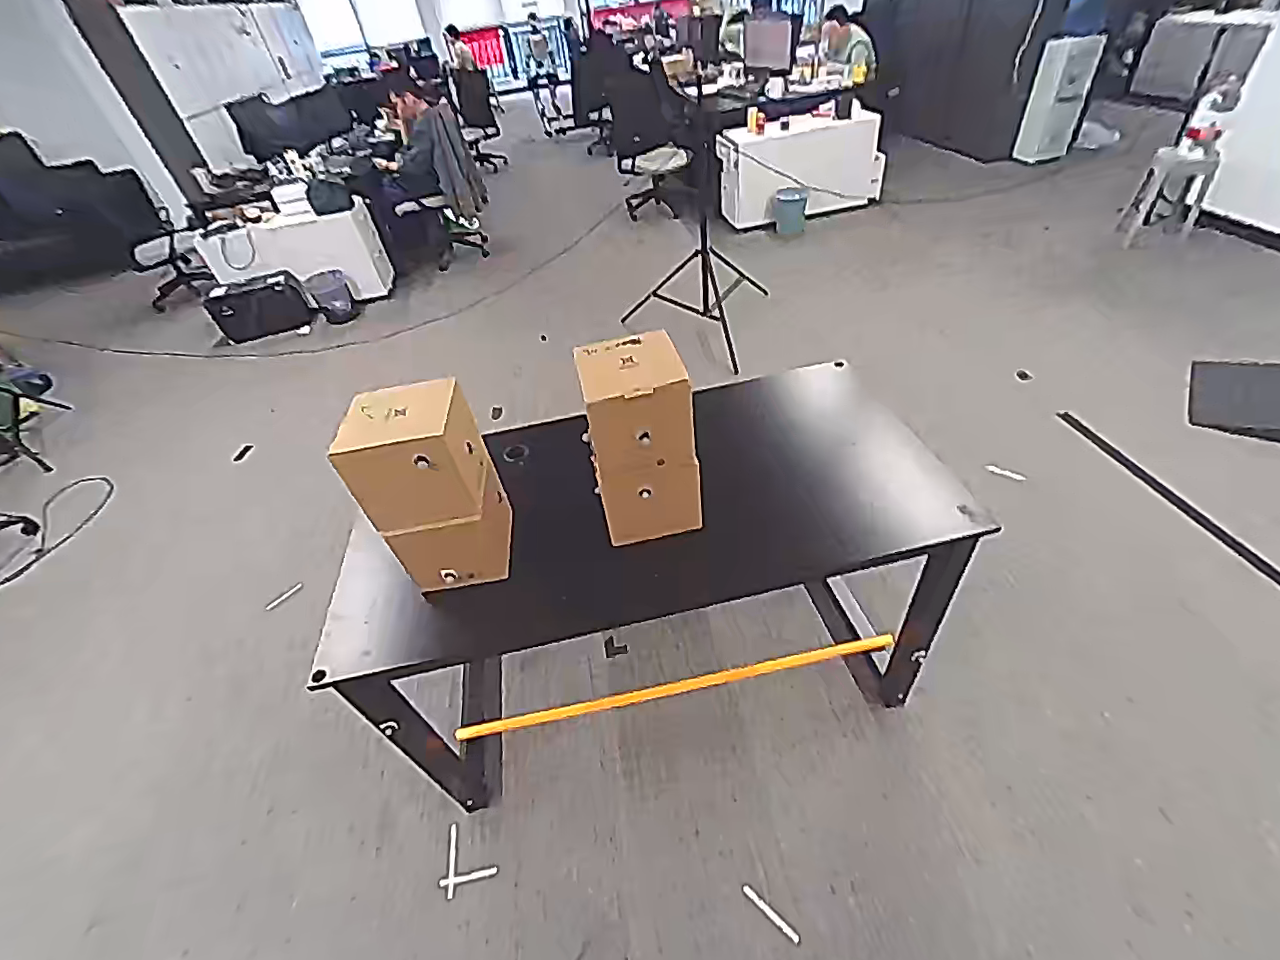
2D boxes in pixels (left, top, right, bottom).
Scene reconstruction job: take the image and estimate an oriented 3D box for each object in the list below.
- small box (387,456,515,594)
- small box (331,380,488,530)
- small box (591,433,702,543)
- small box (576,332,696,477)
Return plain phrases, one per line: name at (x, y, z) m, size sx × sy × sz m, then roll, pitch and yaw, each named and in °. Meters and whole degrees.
small box at (-0.338, 0.084, 1.005) m, size 0.168 × 0.176 × 0.179 m, roll -11°, pitch 43°, yaw 0°
small box at (-0.364, -0.040, 0.898) m, size 0.179 × 0.176 × 0.168 m, roll -11°, pitch 42°, yaw 0°
small box at (0.014, 0.000, 1.030) m, size 0.179 × 0.176 × 0.168 m, roll -12°, pitch 43°, yaw -3°
small box at (-0.006, -0.122, 0.923) m, size 0.168 × 0.176 × 0.179 m, roll -13°, pitch 43°, yaw -3°
